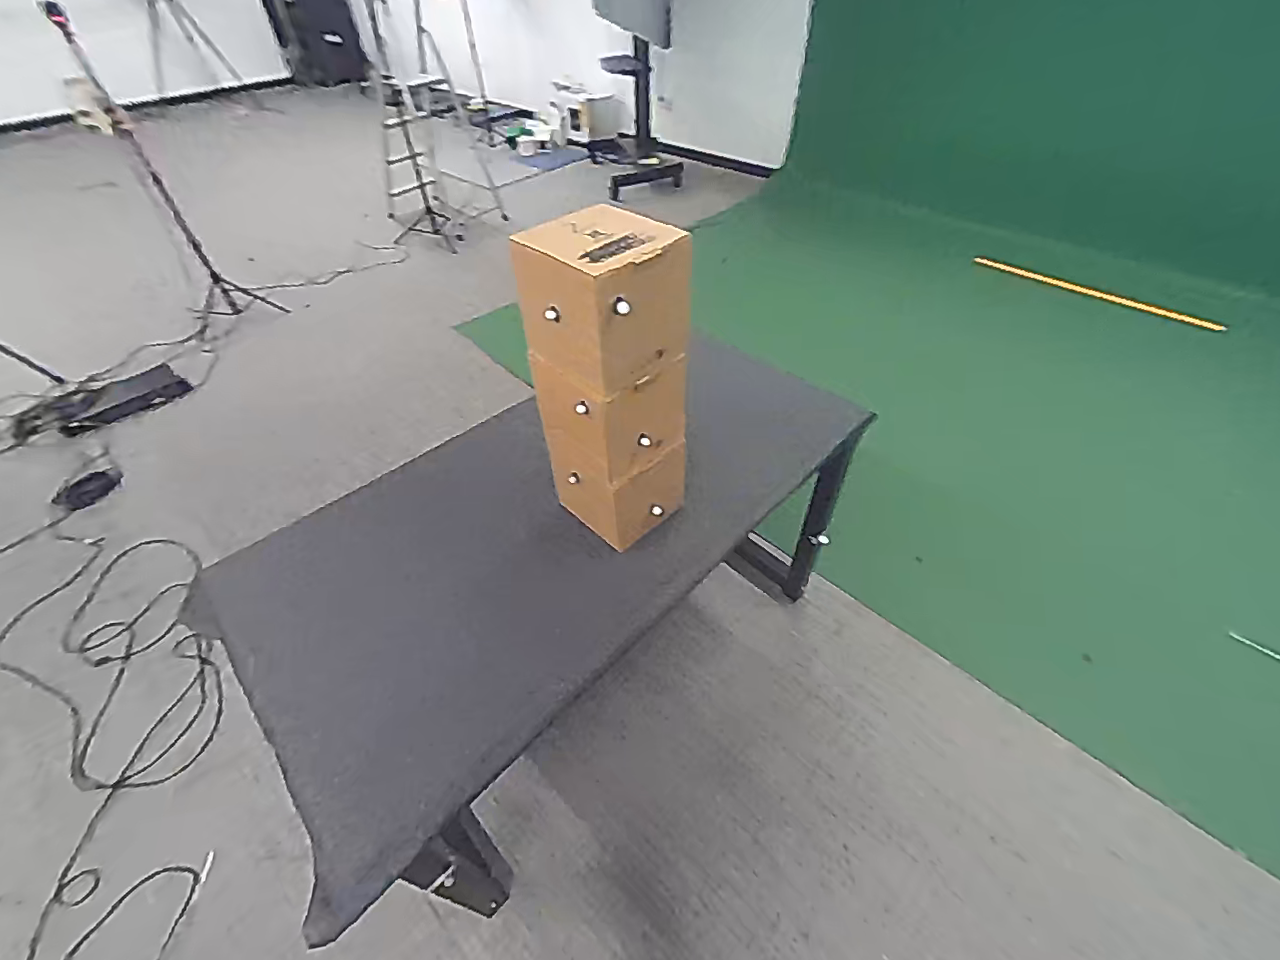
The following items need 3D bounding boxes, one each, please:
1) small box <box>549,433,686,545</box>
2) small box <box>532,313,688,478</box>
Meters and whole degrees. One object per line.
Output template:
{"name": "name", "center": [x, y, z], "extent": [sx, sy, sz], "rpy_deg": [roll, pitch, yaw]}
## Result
{"name": "small box", "center": [-0.038, -0.017, 0.965], "extent": [0.168, 0.176, 0.179], "rpy_deg": [-36, 55, -28]}
{"name": "small box", "center": [-0.046, -0.133, 0.852], "extent": [0.168, 0.176, 0.179], "rpy_deg": [-35, 54, -29]}
